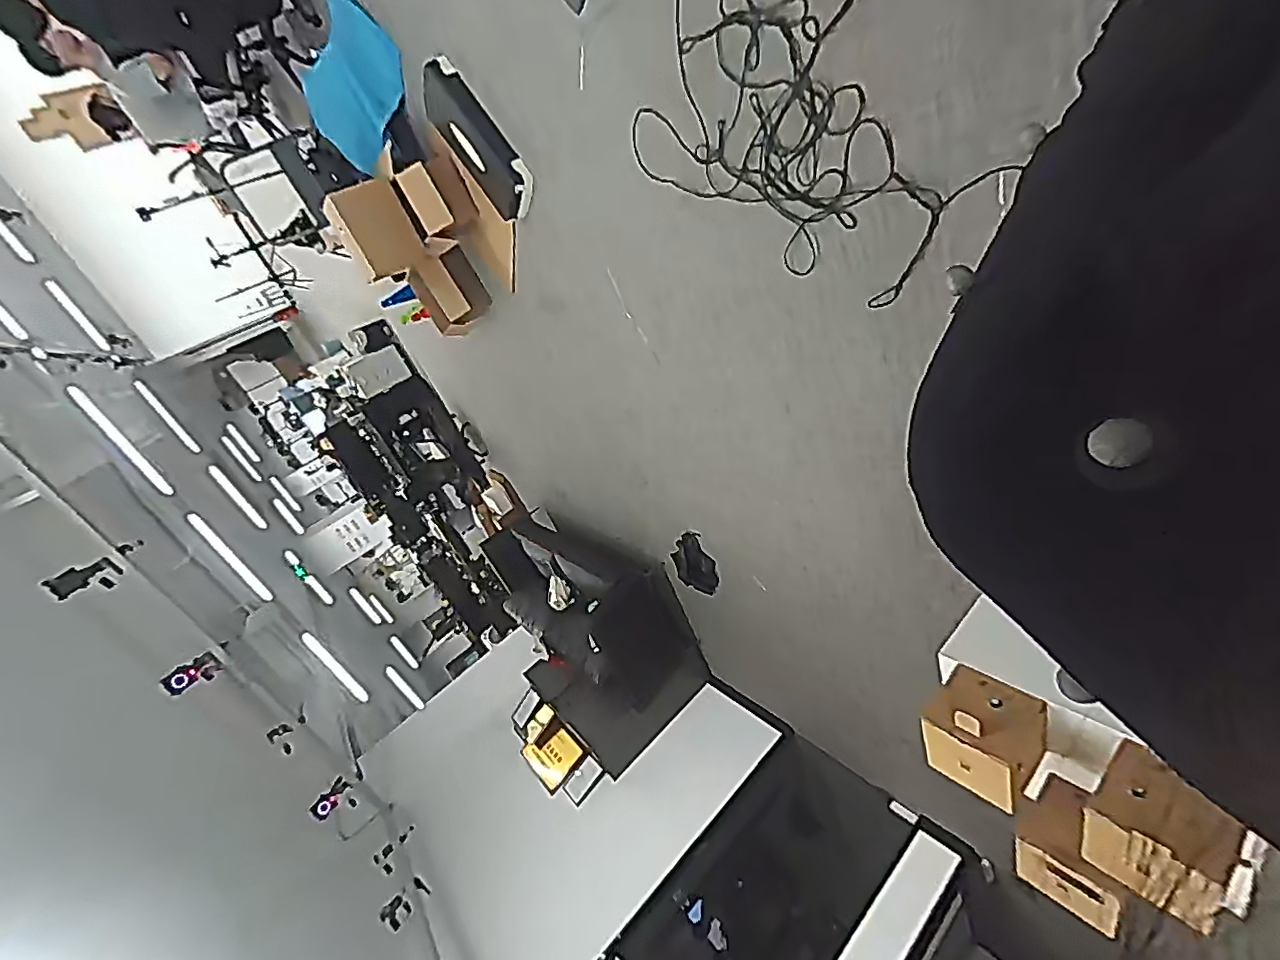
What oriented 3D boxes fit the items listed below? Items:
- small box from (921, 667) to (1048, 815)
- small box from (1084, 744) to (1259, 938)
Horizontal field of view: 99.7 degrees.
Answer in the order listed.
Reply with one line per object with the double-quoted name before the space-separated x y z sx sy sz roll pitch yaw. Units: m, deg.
"small box" 0.711 0.527 1.112 0.168 0.176 0.179 19 139 52
"small box" 0.872 0.584 0.895 0.168 0.176 0.179 21 143 53
